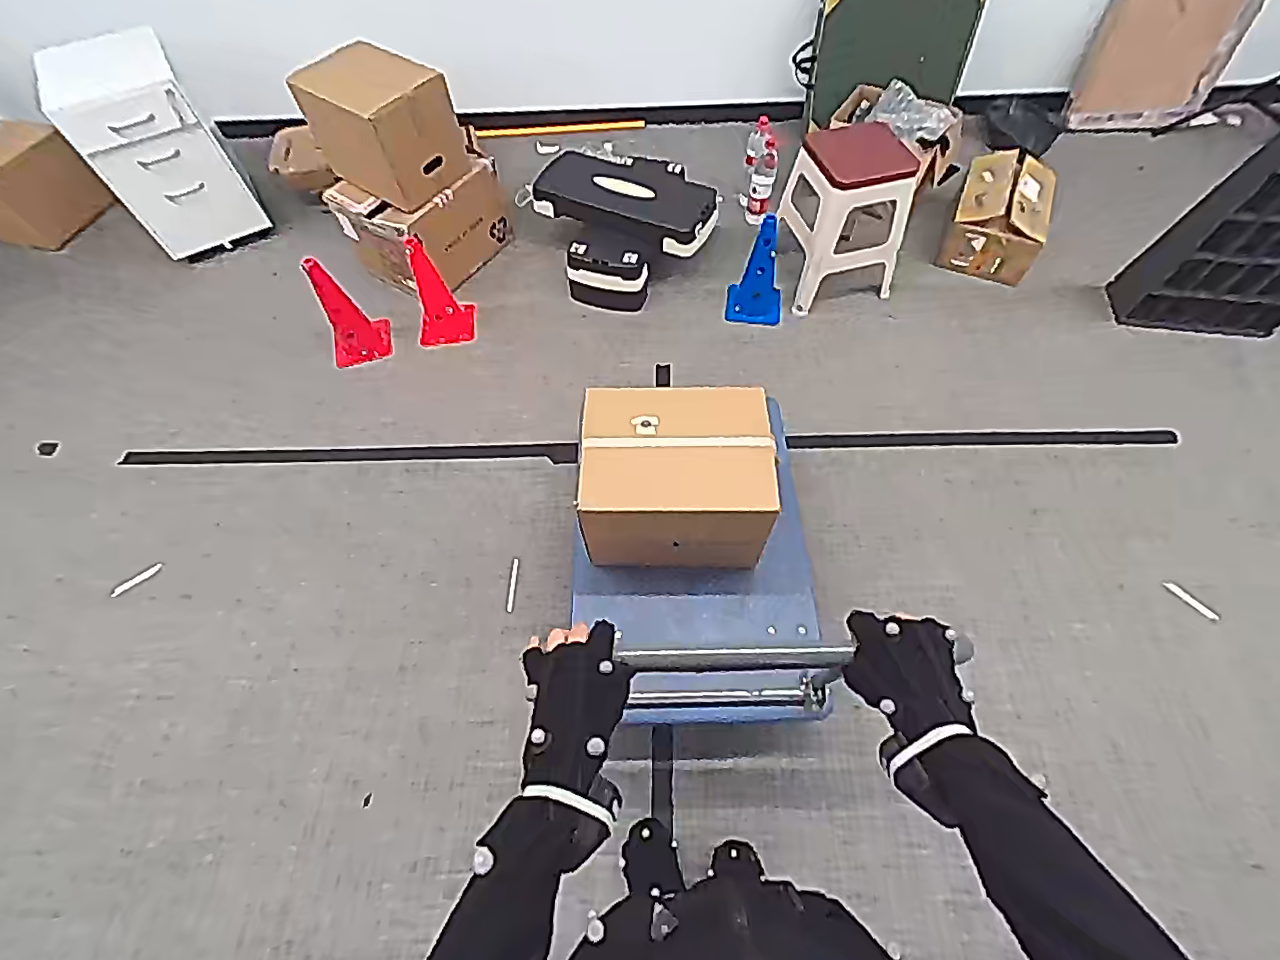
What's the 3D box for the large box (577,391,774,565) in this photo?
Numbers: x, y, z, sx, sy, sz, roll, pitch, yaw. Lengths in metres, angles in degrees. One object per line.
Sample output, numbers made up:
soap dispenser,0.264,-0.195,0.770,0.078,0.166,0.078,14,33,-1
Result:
large box,0.078,0.007,1.285,0.408,0.320,0.320,-1,60,2
